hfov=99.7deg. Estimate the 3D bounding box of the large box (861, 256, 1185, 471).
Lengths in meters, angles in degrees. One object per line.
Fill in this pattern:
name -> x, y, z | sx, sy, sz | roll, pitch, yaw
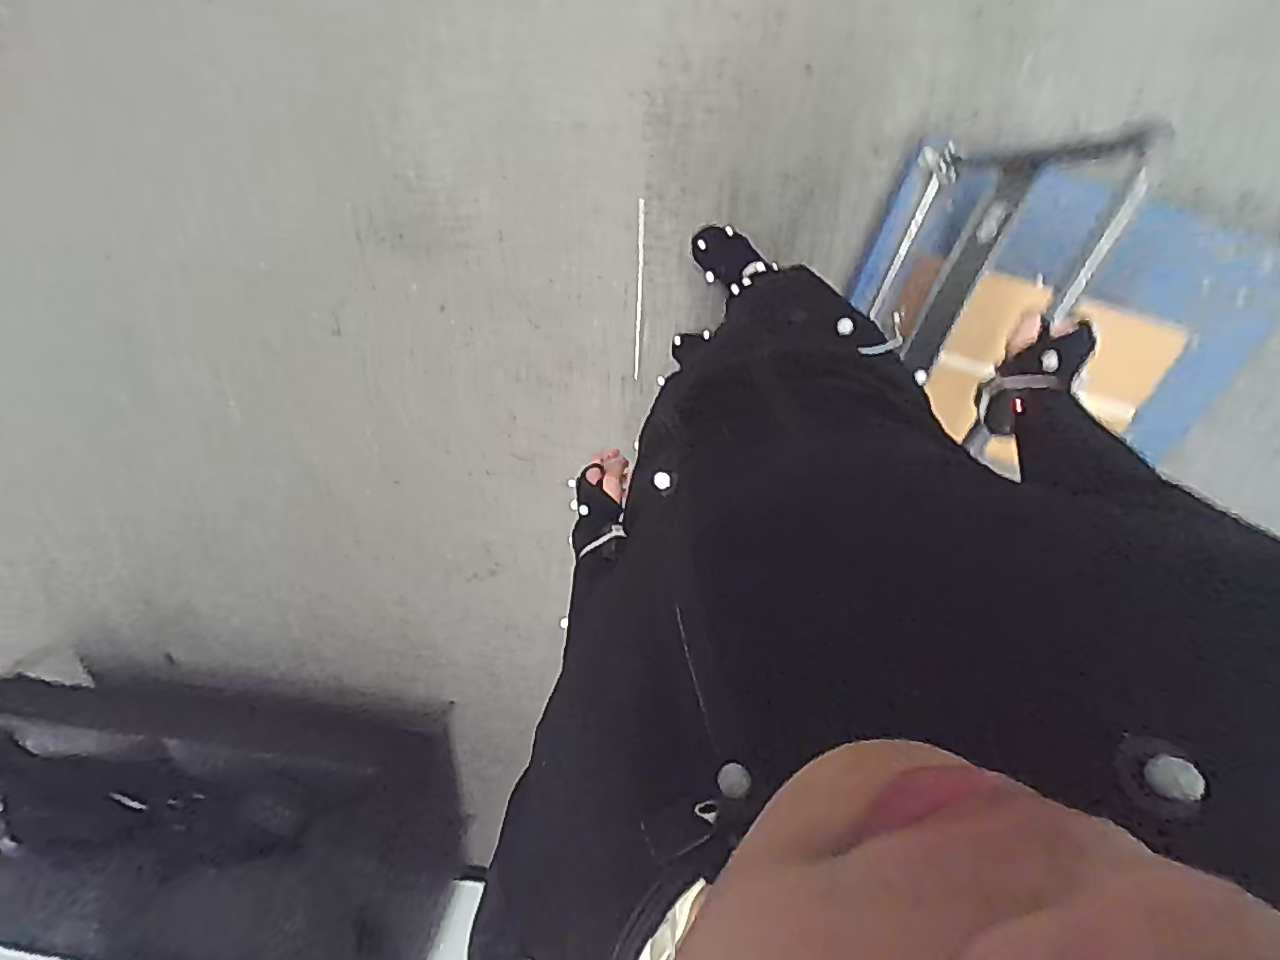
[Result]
large box -> 0.754, -0.264, 1.153 | 0.408, 0.320, 0.320 | 16, 118, 0
